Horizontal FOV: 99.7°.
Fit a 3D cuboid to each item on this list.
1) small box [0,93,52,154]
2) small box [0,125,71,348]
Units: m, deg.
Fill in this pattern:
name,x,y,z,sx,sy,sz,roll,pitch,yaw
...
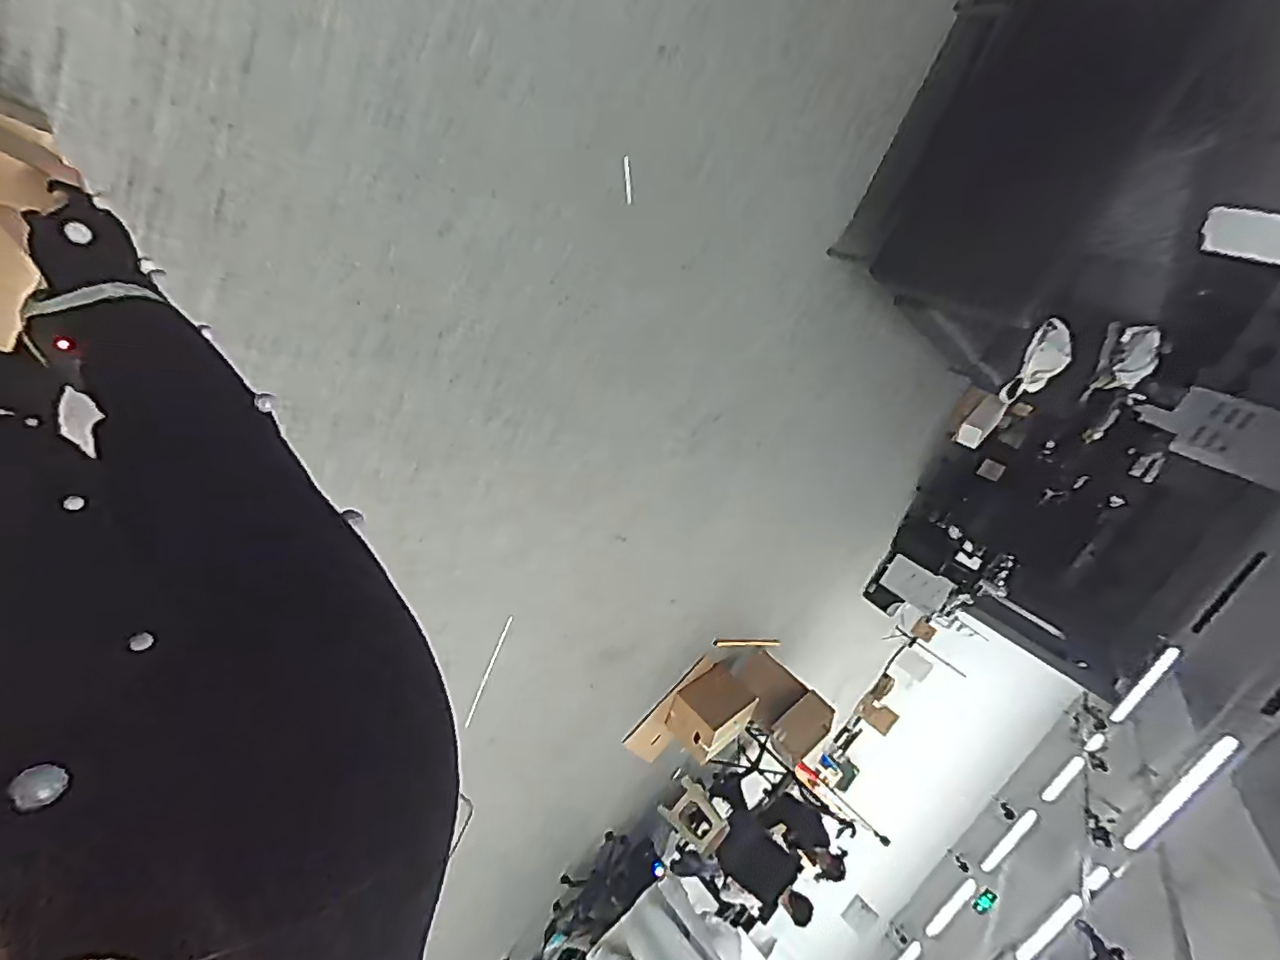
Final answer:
name,x,y,z,sx,sy,sz,roll,pitch,yaw
small box,-0.764,-0.343,0.578,0.168,0.176,0.179,8,114,-52
small box,-0.655,-0.252,0.482,0.168,0.176,0.179,20,103,-55
